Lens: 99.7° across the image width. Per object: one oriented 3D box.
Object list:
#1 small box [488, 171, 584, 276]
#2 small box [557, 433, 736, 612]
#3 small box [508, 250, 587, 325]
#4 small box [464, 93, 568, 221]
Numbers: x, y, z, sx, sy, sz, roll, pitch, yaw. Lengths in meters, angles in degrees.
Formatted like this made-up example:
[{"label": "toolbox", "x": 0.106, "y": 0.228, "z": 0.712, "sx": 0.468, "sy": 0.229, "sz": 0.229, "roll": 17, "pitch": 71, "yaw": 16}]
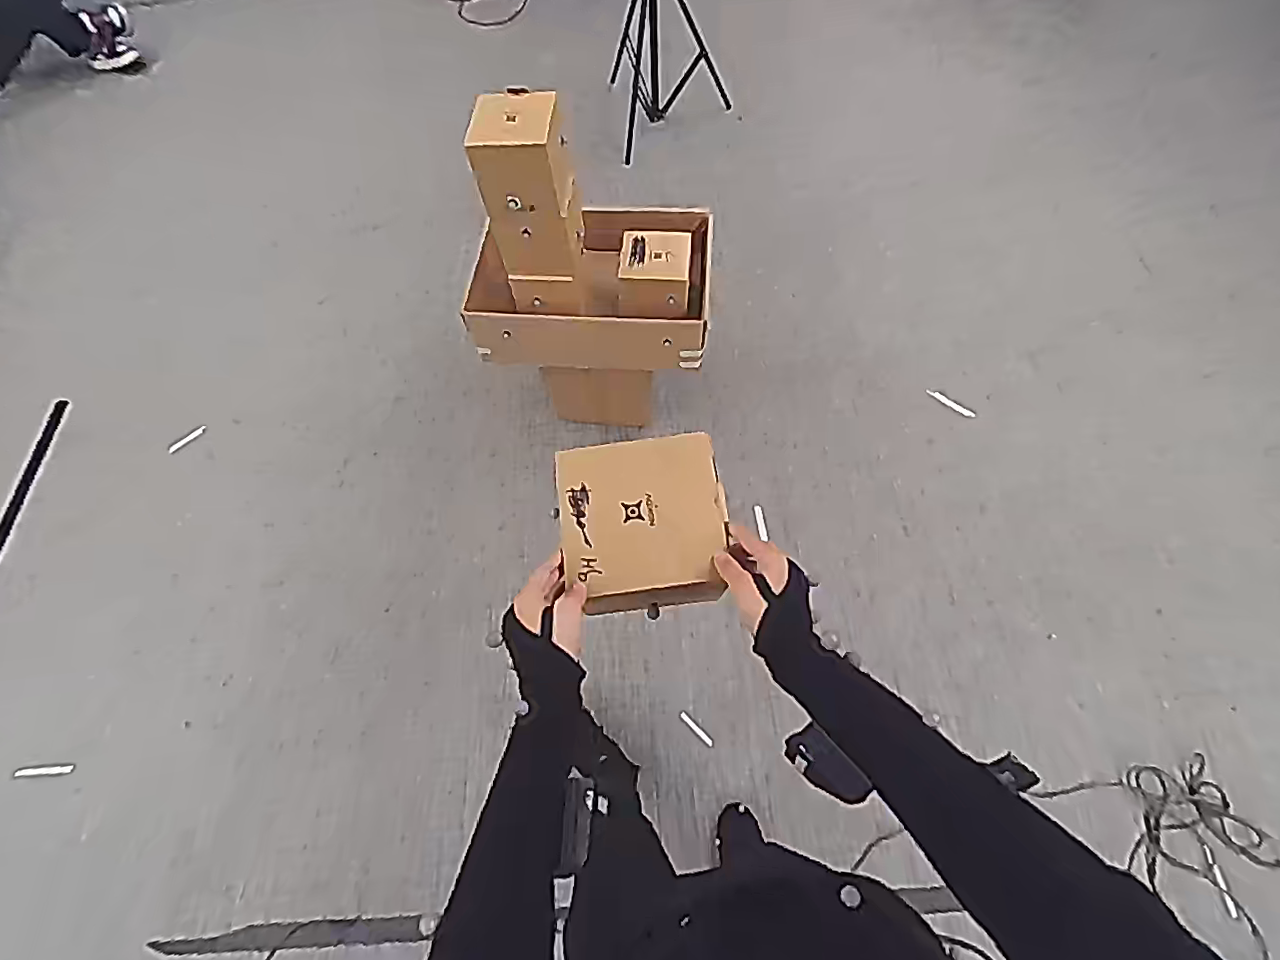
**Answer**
[{"label": "small box", "x": -0.238, "y": -0.608, "z": 1.289, "sx": 0.179, "sy": 0.176, "sz": 0.168, "roll": 4, "pitch": 64, "yaw": 4}, {"label": "small box", "x": 0.004, "y": 0.059, "z": 0.643, "sx": 0.179, "sy": 0.176, "sz": 0.168, "roll": -7, "pitch": 70, "yaw": -1}, {"label": "small box", "x": -0.236, "y": -0.529, "z": 1.433, "sx": 0.168, "sy": 0.176, "sz": 0.179, "roll": 2, "pitch": 64, "yaw": 3}, {"label": "small box", "x": -0.251, "y": -0.679, "z": 1.141, "sx": 0.168, "sy": 0.176, "sz": 0.179, "roll": 1, "pitch": 63, "yaw": 4}]
